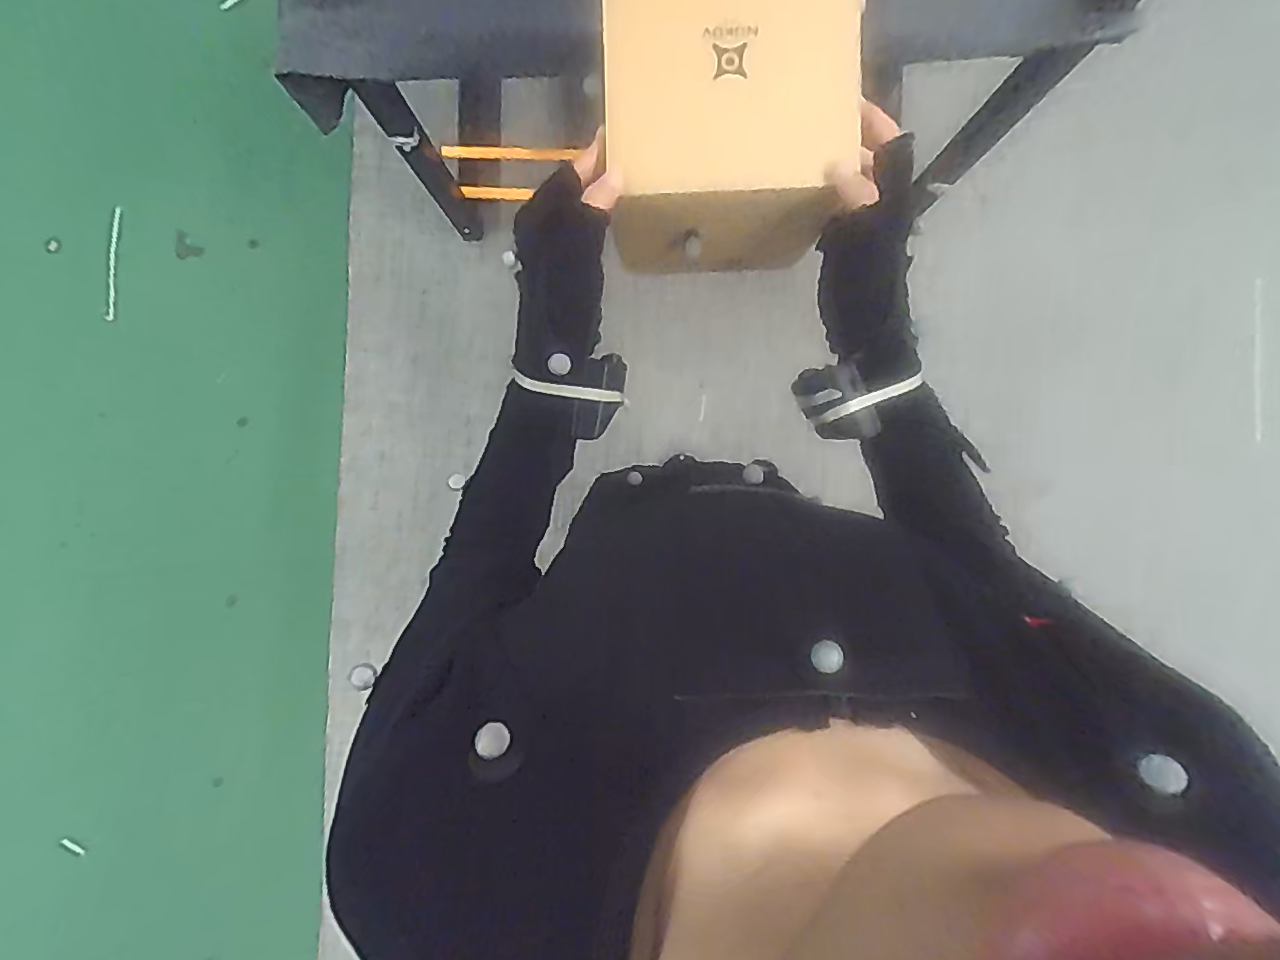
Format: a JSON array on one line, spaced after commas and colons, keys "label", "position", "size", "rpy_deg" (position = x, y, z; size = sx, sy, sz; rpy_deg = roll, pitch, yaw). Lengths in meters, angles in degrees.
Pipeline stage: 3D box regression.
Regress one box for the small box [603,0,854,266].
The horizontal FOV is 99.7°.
[{"label": "small box", "position": [0.062, -0.285, 0.437], "size": [0.168, 0.176, 0.179], "rpy_deg": [-3, 93, 2]}]
